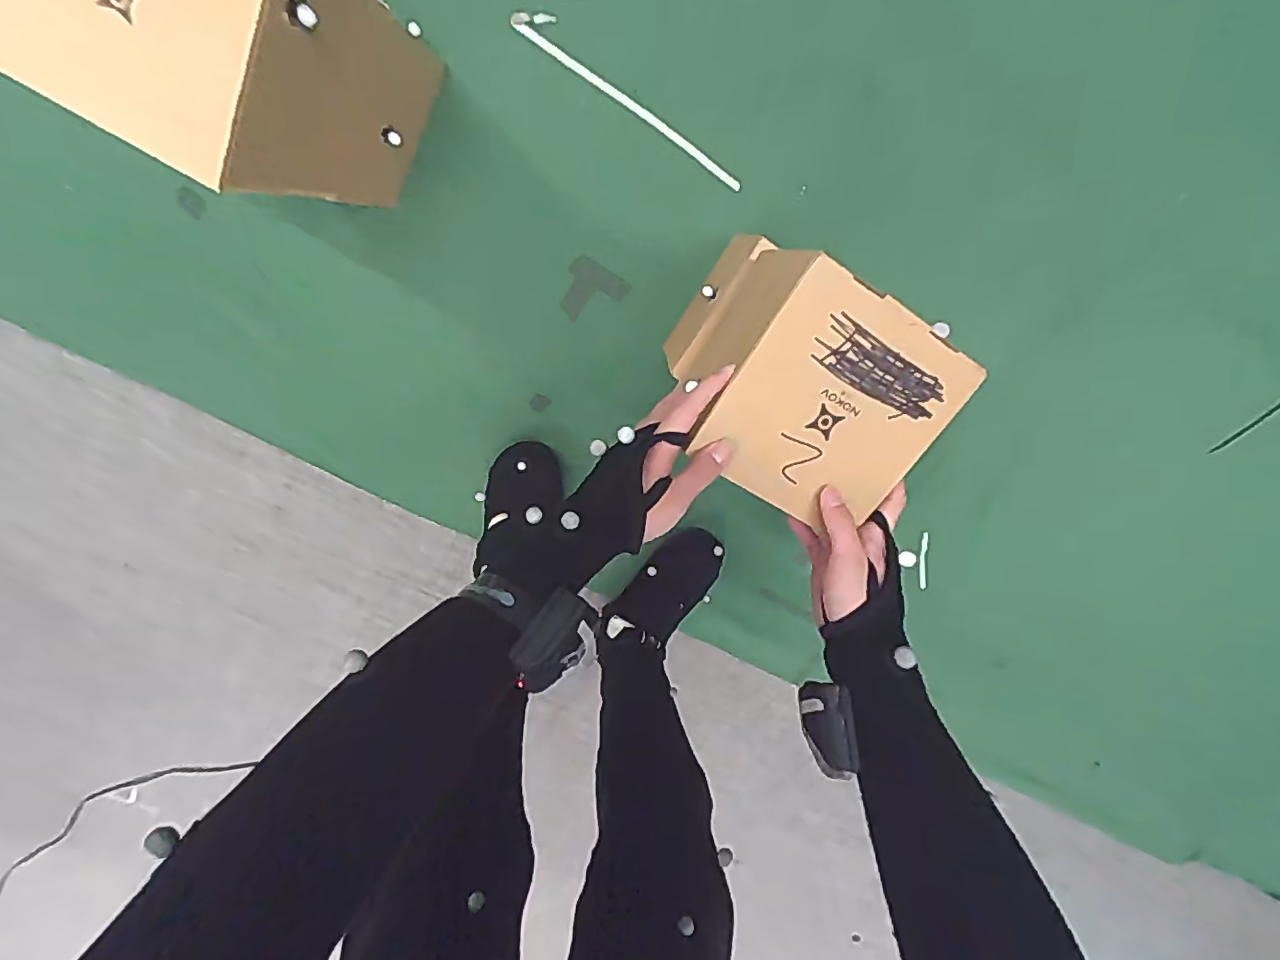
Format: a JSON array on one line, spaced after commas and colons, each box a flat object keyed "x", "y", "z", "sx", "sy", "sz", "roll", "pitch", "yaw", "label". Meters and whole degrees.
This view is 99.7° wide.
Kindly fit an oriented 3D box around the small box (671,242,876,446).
[{"x": 0.149, "y": -0.179, "z": 0.683, "sx": 0.168, "sy": 0.176, "sz": 0.179, "roll": 30, "pitch": 111, "yaw": -14, "label": "small box"}]

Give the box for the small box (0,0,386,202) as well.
[{"x": -0.331, "y": -0.344, "z": 0.424, "sx": 0.168, "sy": 0.176, "sz": 0.179, "roll": 28, "pitch": 111, "yaw": -12, "label": "small box"}]

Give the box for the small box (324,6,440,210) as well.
[{"x": -0.334, "y": -0.413, "z": 0.570, "sx": 0.168, "sy": 0.176, "sz": 0.179, "roll": 28, "pitch": 112, "yaw": -12, "label": "small box"}]
